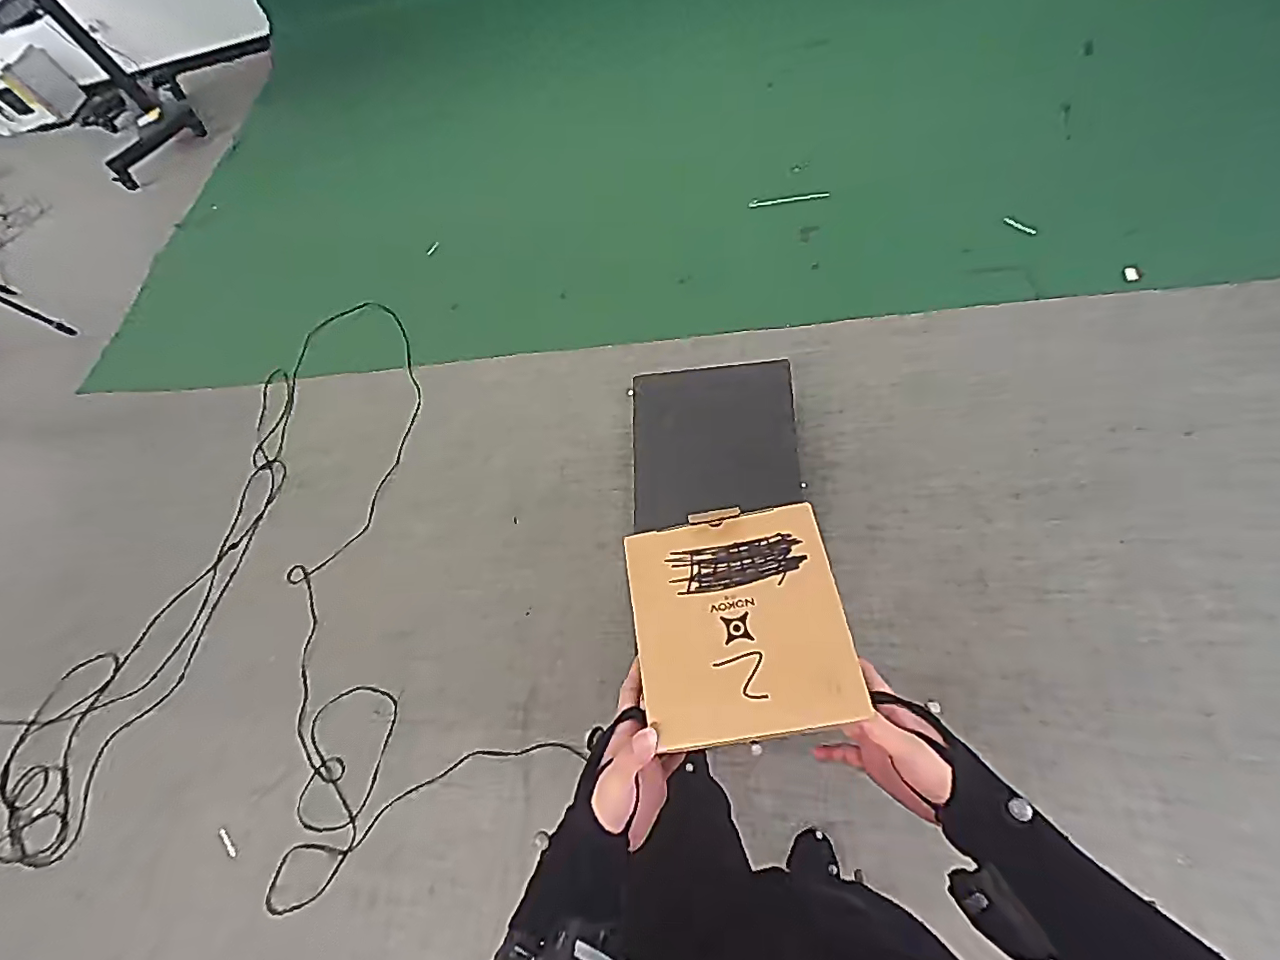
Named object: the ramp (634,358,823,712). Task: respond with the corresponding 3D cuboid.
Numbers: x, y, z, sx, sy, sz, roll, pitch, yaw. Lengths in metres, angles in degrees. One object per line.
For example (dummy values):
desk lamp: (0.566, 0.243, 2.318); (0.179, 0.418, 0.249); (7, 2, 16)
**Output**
ramp: (0.227, 0.126, 1.552); (0.509, 0.206, 0.991); (-5, 64, 10)
